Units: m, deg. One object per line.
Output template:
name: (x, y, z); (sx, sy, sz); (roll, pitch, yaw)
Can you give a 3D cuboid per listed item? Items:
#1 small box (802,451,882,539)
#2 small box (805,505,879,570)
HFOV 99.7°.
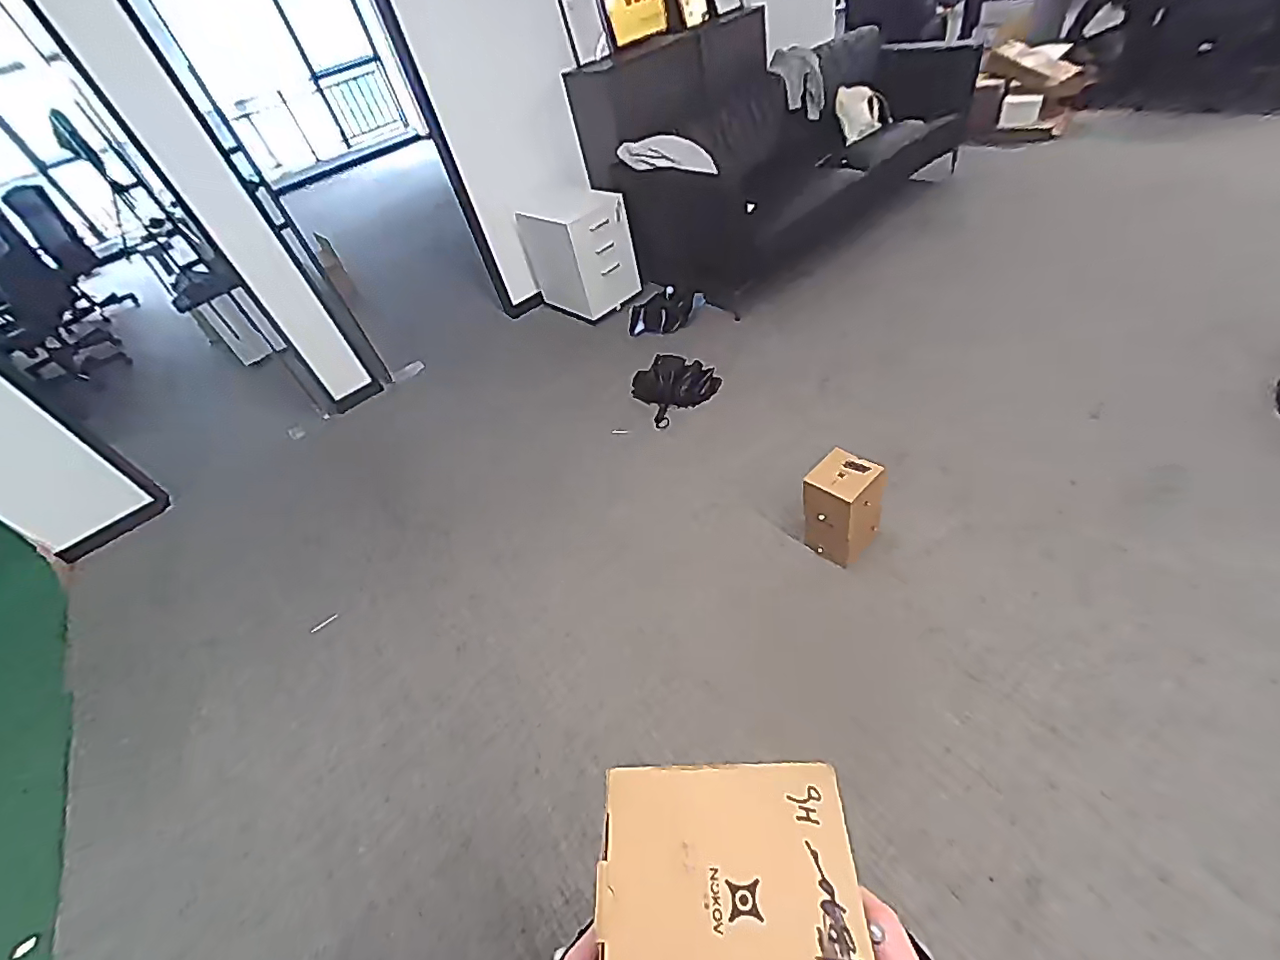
small box: (0.619, 0.046, 1.670); (0.179, 0.176, 0.168); (-39, 47, -22)
small box: (0.661, 0.158, 1.783); (0.179, 0.176, 0.168); (-40, 47, -21)
